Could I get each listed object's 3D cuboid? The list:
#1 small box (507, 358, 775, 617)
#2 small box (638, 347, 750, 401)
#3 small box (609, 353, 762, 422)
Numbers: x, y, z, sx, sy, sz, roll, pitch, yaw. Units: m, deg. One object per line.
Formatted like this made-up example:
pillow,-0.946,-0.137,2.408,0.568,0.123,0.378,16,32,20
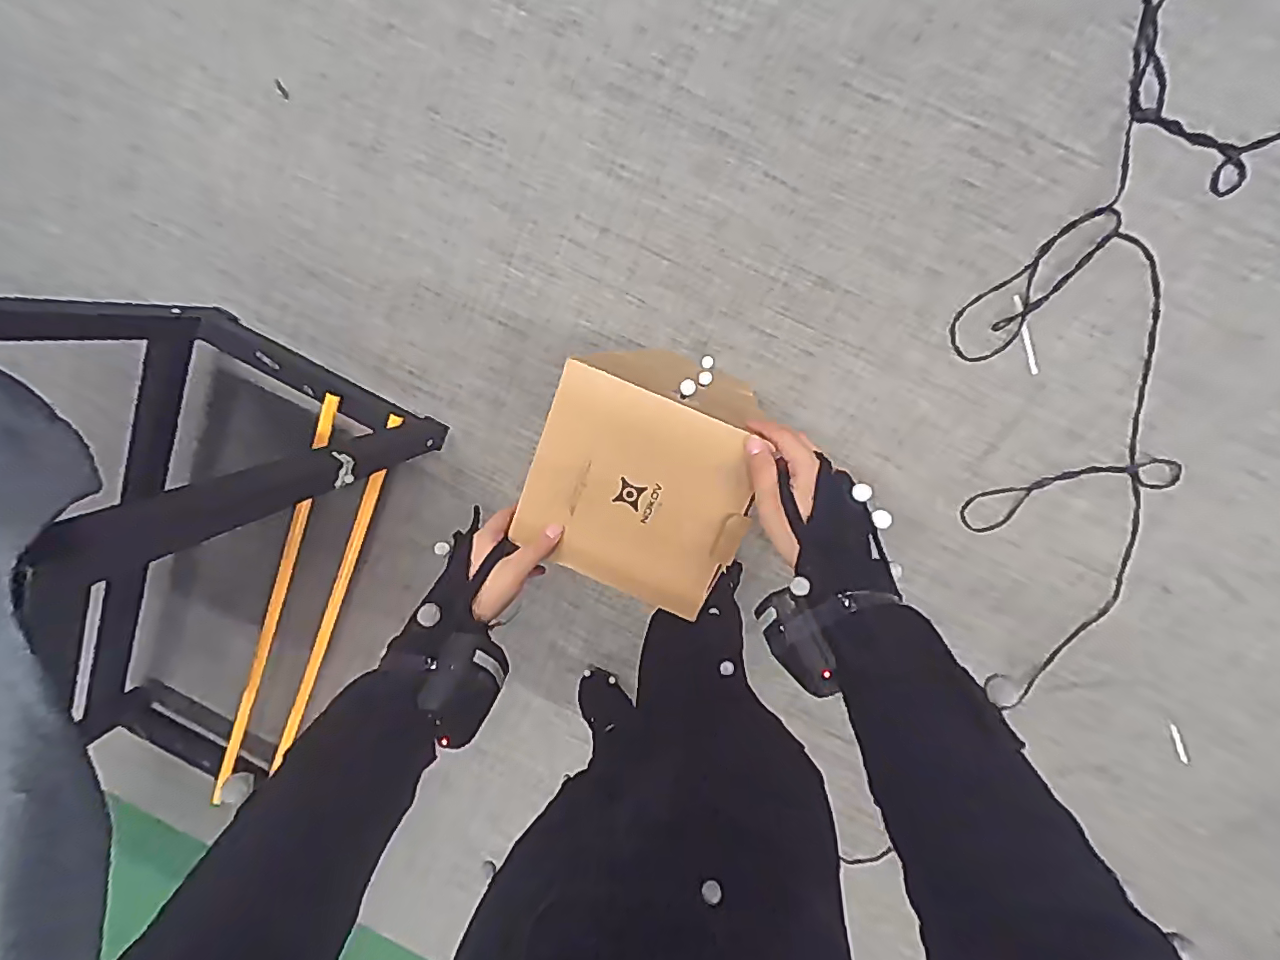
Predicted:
small box,0.008,-0.009,0.507,0.179,0.176,0.168,23,107,3
small box,0.058,-0.090,0.819,0.168,0.176,0.179,22,107,3
small box,0.031,-0.051,0.662,0.179,0.176,0.168,23,107,2
